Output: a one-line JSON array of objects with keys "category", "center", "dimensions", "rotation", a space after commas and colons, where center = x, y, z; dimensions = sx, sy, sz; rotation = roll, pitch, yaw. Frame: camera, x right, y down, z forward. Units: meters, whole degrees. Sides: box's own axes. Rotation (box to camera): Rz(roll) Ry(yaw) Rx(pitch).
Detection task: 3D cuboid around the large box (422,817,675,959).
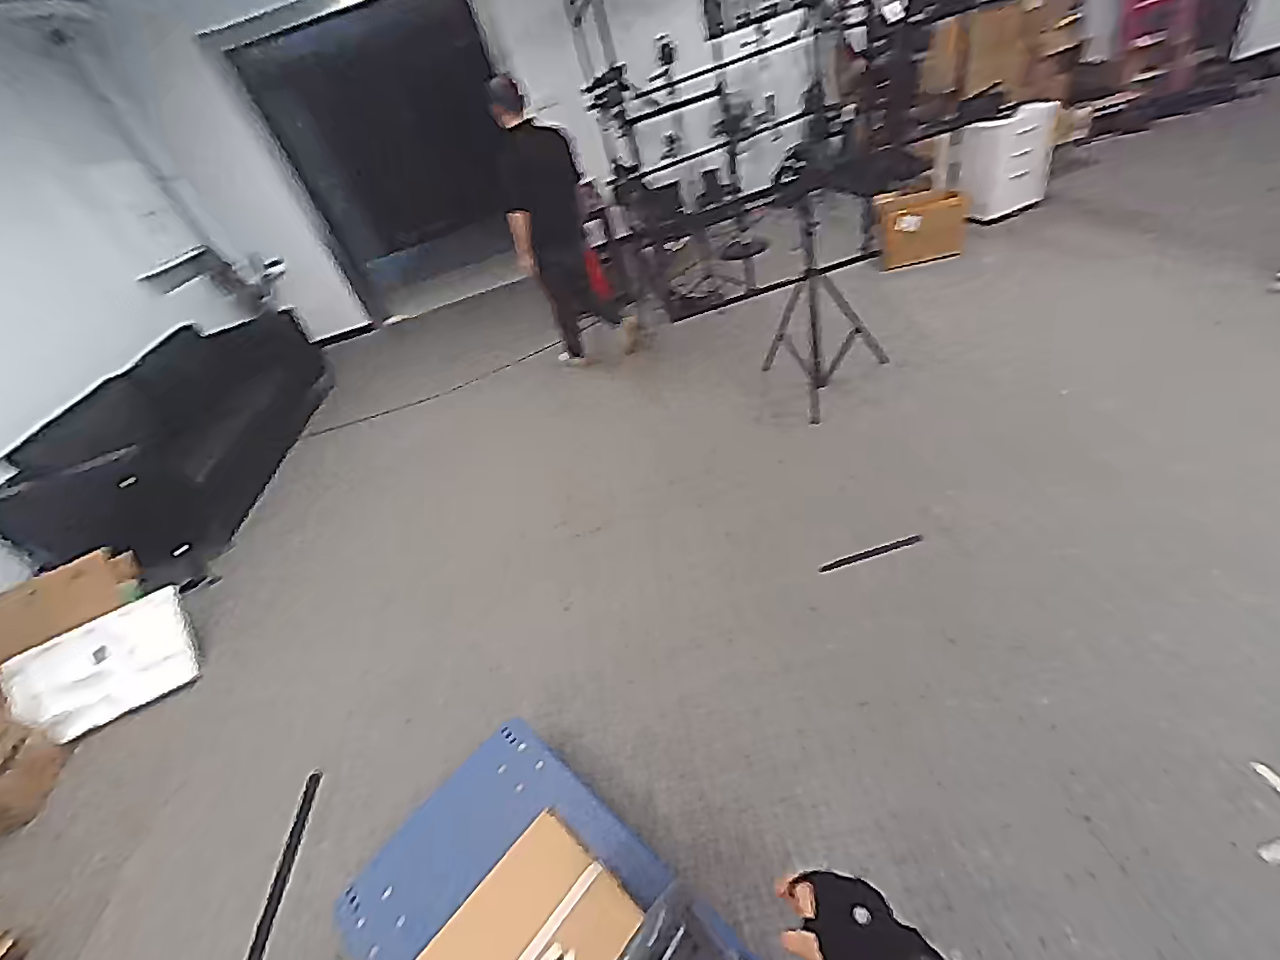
[{"category": "large box", "center": [-0.167, 0.907, 0.918], "dimensions": [0.320, 0.320, 0.408], "rotation": [21, 51, 40]}]
